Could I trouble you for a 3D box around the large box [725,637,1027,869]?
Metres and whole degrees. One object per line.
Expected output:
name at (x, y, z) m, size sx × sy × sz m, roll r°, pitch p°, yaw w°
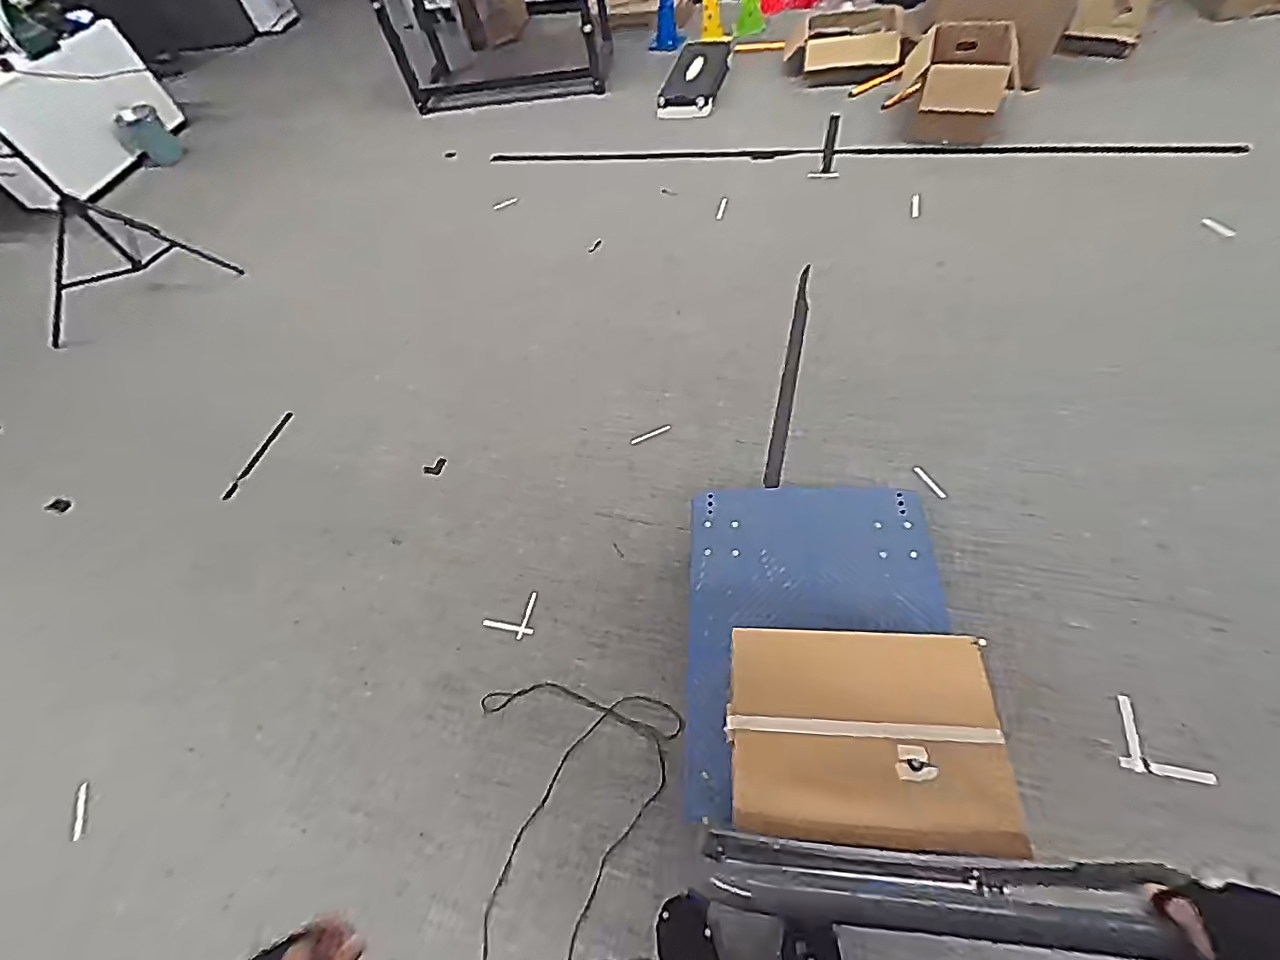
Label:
large box at (0.360, 0.487, 0.966) m, size 0.408 × 0.320 × 0.320 m, roll 0°, pitch 57°, yaw 8°
